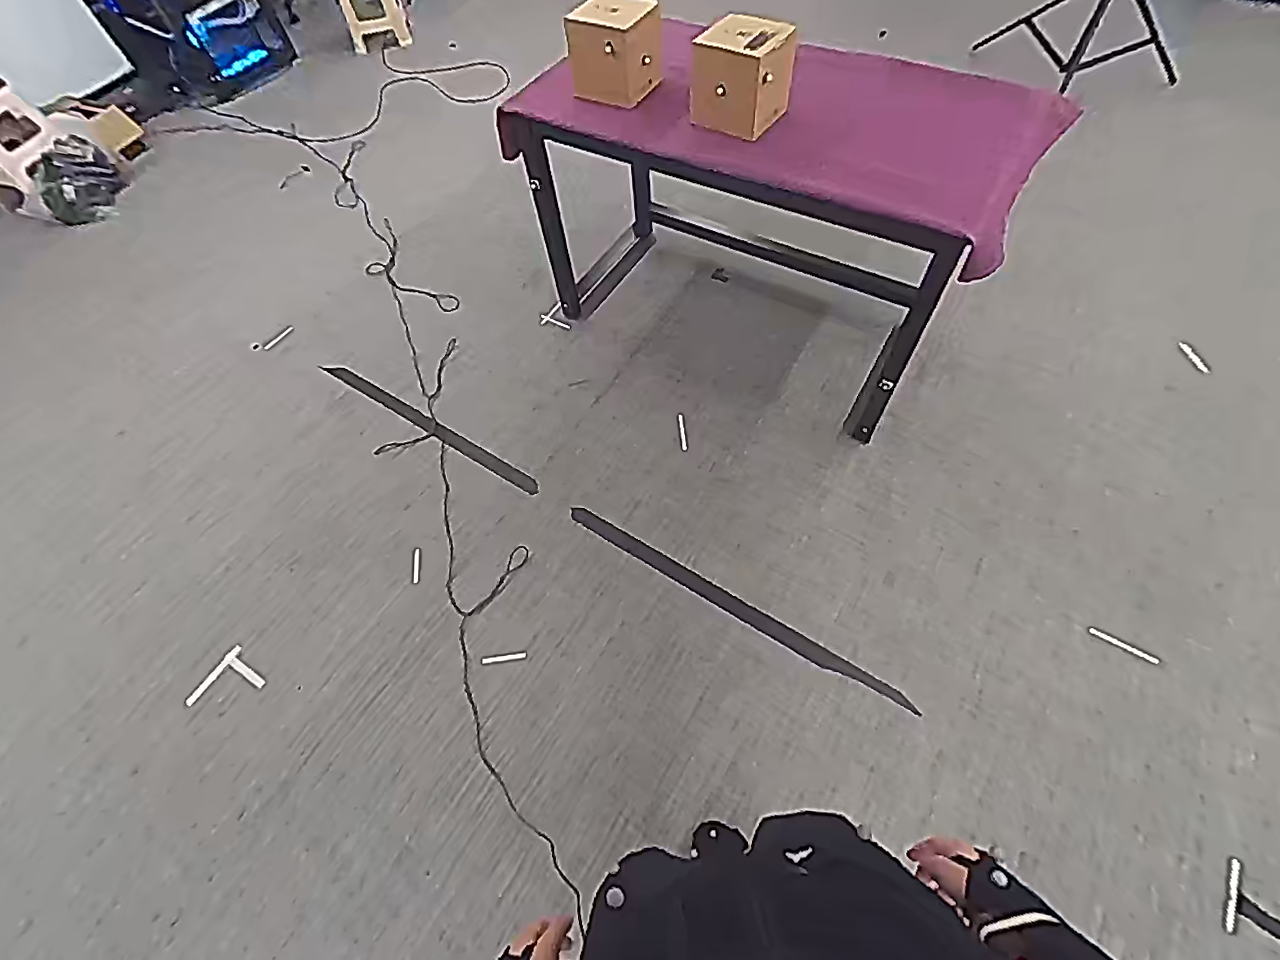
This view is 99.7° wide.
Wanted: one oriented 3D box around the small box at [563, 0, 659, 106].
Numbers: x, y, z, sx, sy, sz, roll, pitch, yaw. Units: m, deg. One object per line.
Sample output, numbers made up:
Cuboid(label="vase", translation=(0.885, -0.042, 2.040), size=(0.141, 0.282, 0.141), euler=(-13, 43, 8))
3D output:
Cuboid(label="small box", translation=(-0.063, -1.068, 1.346), size=(0.179, 0.176, 0.168), euler=(25, 63, 18))
